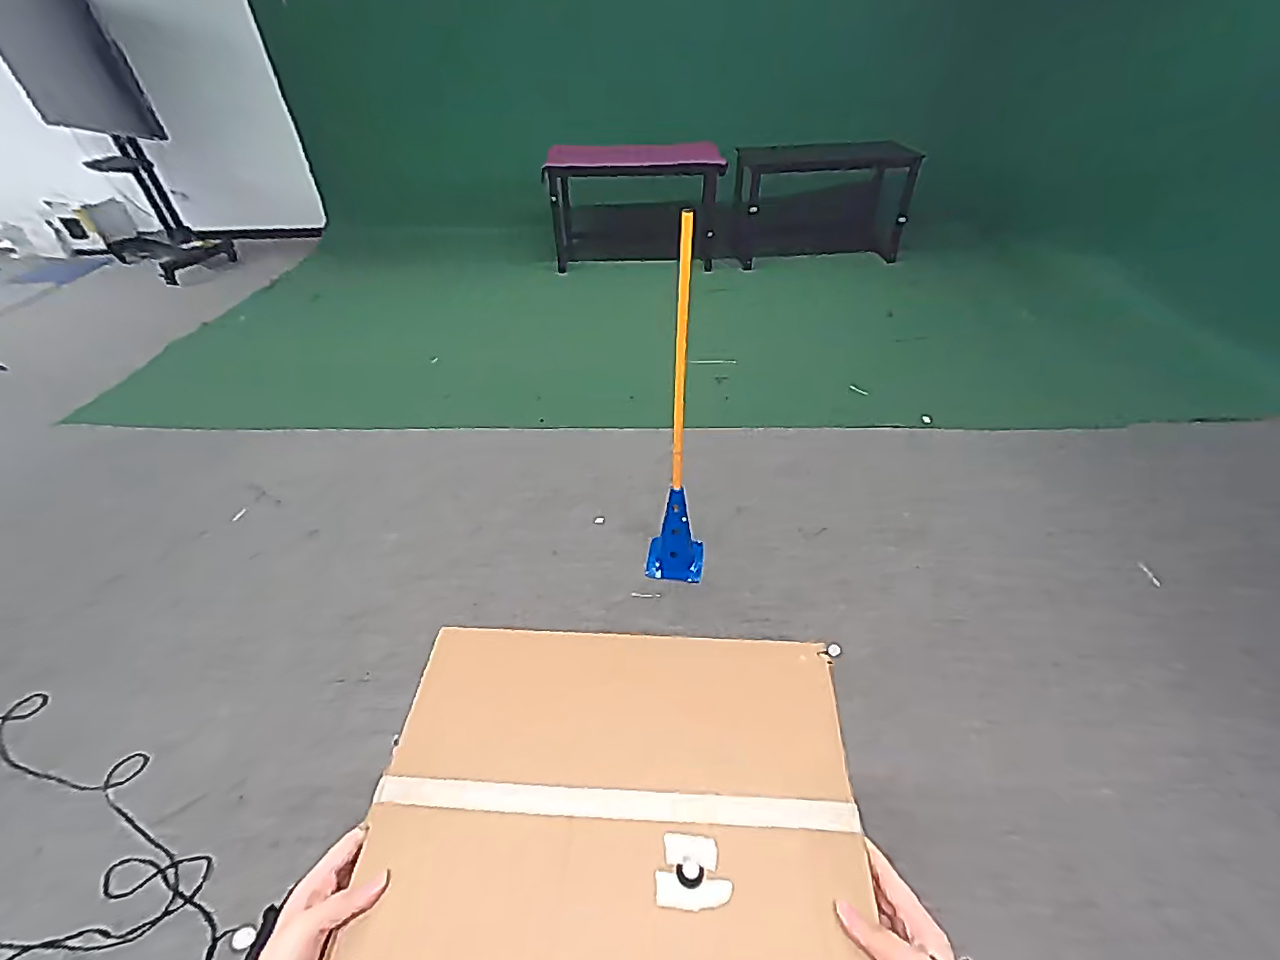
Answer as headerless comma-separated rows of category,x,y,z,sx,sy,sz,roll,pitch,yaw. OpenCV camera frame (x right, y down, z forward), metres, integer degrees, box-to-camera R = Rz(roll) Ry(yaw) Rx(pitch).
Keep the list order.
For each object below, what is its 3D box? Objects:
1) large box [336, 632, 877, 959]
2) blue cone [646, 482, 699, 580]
large box,-0.019,0.381,0.573,0.408,0.320,0.320,2,46,3
blue cone,0.120,0.168,1.901,0.193,0.380,0.192,6,40,8
